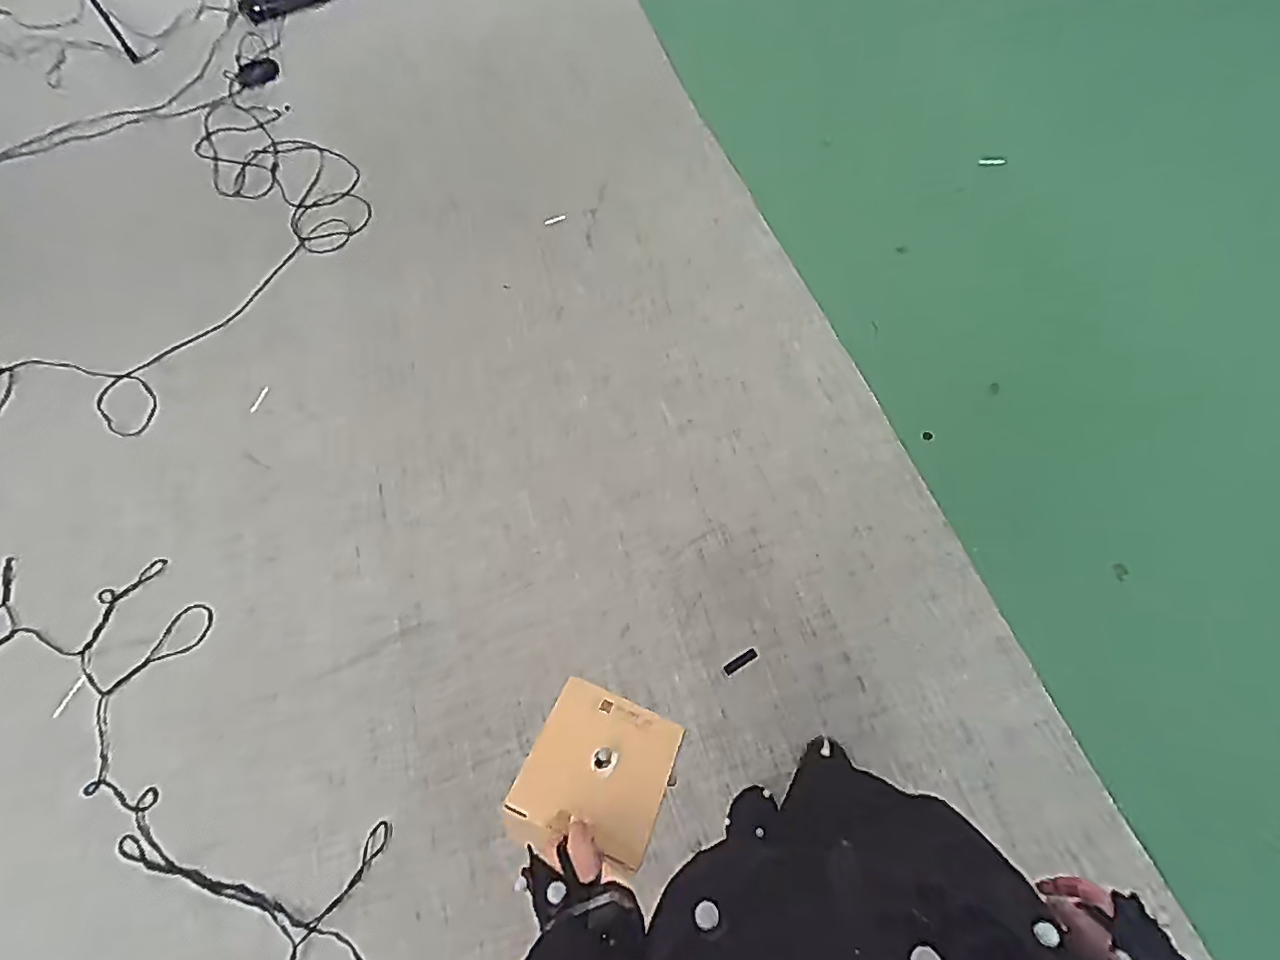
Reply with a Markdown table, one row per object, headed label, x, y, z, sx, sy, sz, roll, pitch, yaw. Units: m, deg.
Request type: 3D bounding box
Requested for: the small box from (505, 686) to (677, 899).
| label | x | y | z | sx | sy | sz | roll | pitch | yaw |
| --- | --- | --- | --- | --- | --- | --- | --- | --- | --- |
| small box | -0.061 | 0.400 | 0.705 | 0.168 | 0.179 | 0.176 | 20 | 44 | 9 |
